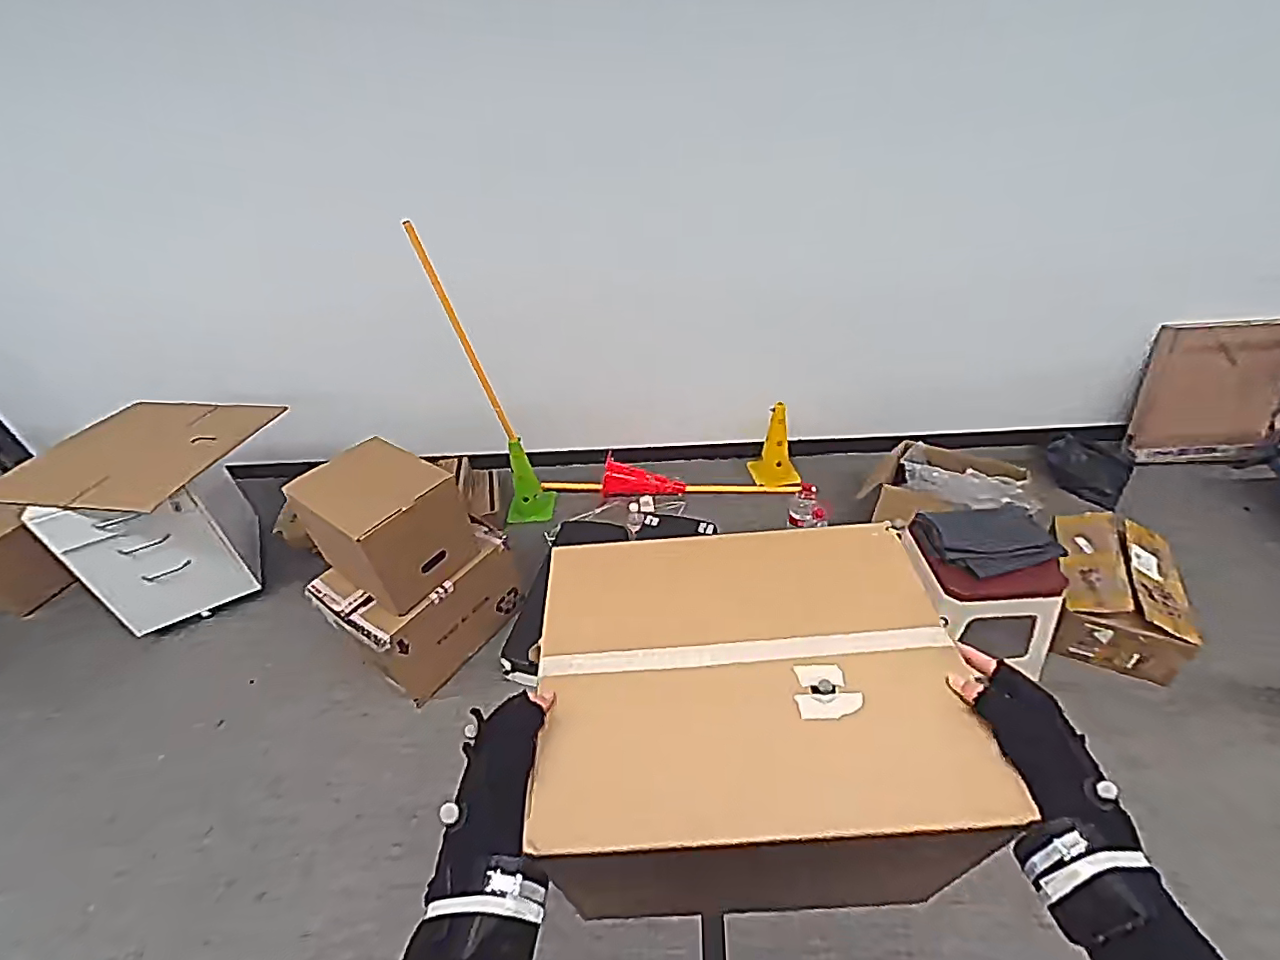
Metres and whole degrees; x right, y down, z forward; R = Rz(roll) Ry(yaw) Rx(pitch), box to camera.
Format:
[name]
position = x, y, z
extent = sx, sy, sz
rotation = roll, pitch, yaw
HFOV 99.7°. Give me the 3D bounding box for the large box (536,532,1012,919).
[large box]
position = 0.111, 0.293, 0.651
extent = 0.408, 0.320, 0.320
rotation = -4, 43, 1
